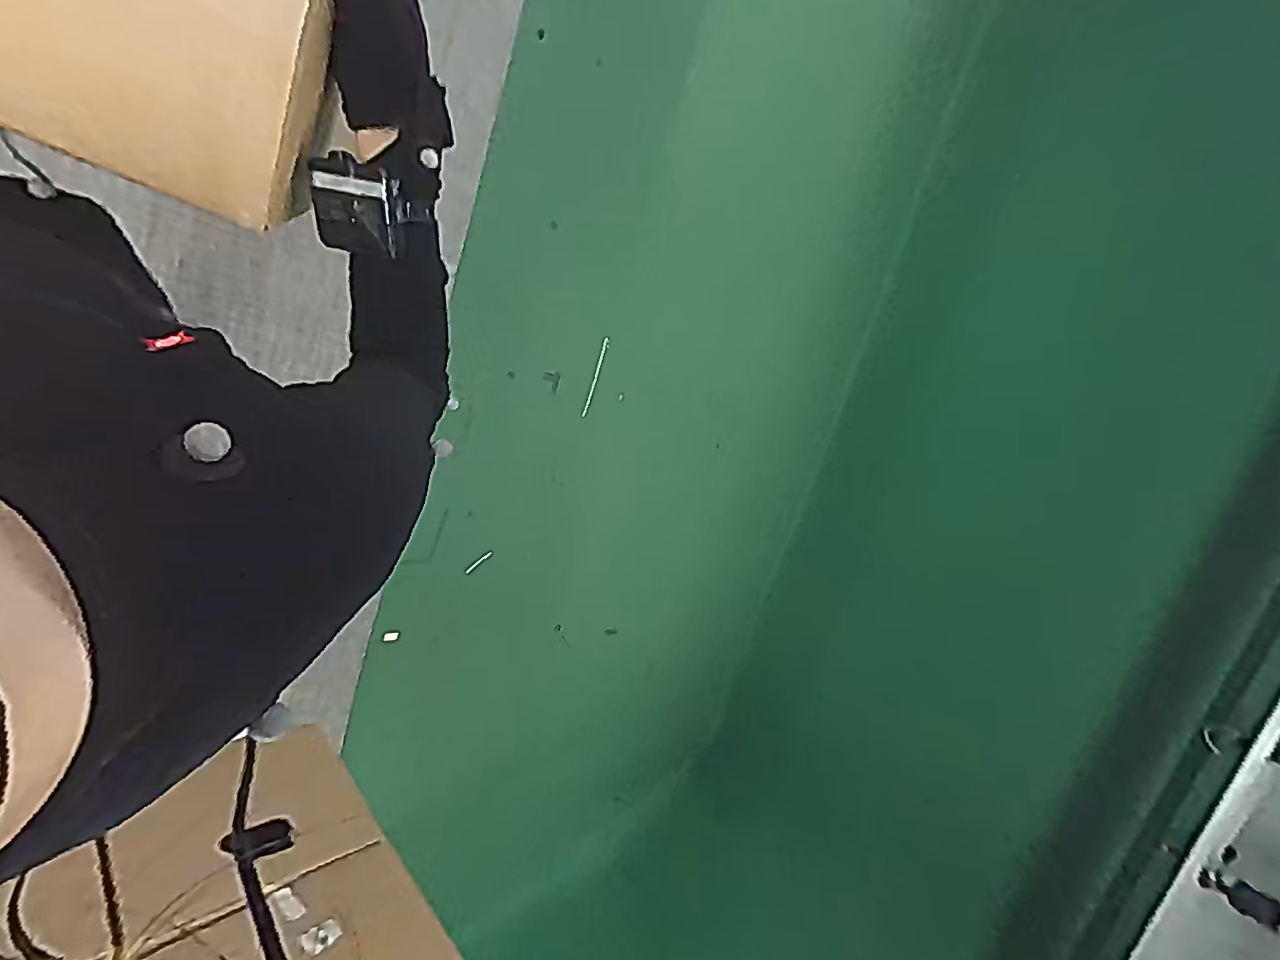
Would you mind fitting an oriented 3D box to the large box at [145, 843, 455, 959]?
[{"bbox_3d":[-0.447,0.787,0.675,0.320,0.320,0.408,6,106,-53],"label":"large box"}]
